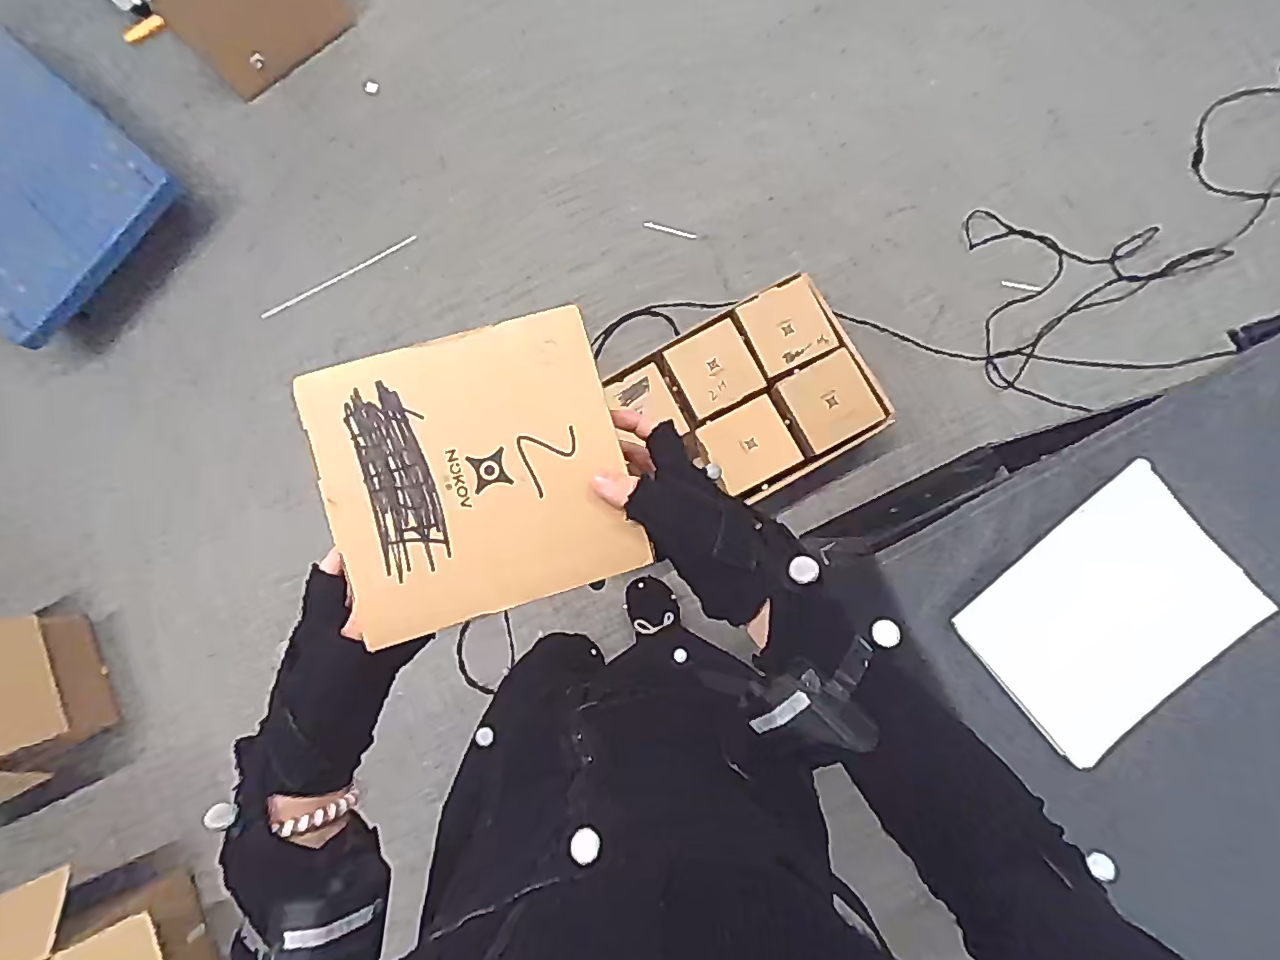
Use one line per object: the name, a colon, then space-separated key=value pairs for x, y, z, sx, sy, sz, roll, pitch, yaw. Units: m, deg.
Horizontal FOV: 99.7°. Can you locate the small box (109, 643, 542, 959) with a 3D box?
small box: x=-0.196 y=0.235 z=0.355 sx=0.168 sy=0.176 sz=0.179 roll=36 pitch=45 yaw=-27
